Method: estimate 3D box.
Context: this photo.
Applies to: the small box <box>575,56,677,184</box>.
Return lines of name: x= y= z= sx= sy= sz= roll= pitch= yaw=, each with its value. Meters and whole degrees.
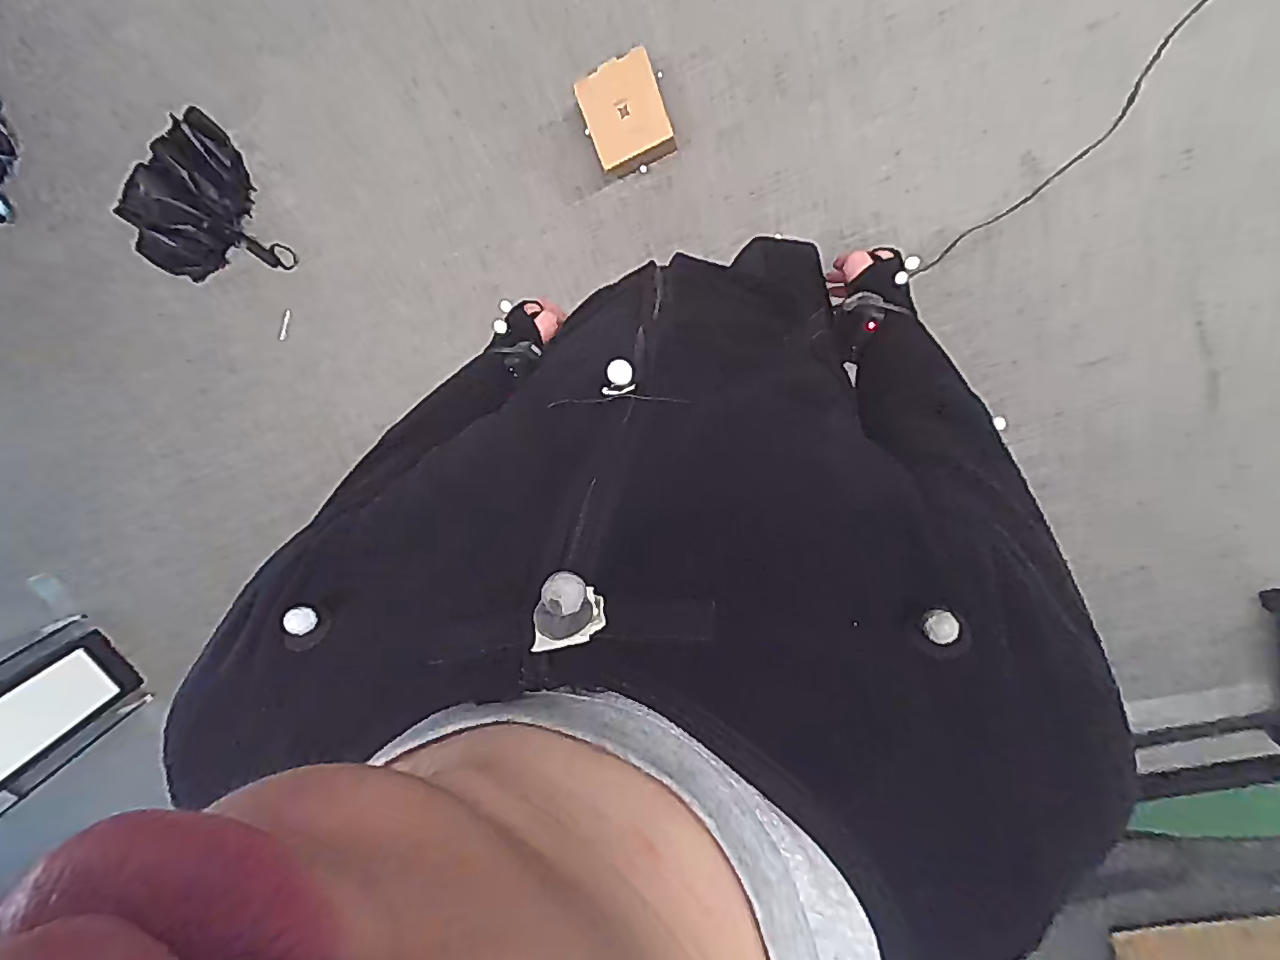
small box: x=-0.023 y=-0.793 z=1.213 sx=0.168 sy=0.176 sz=0.179 roll=-19 pitch=110 yaw=16
